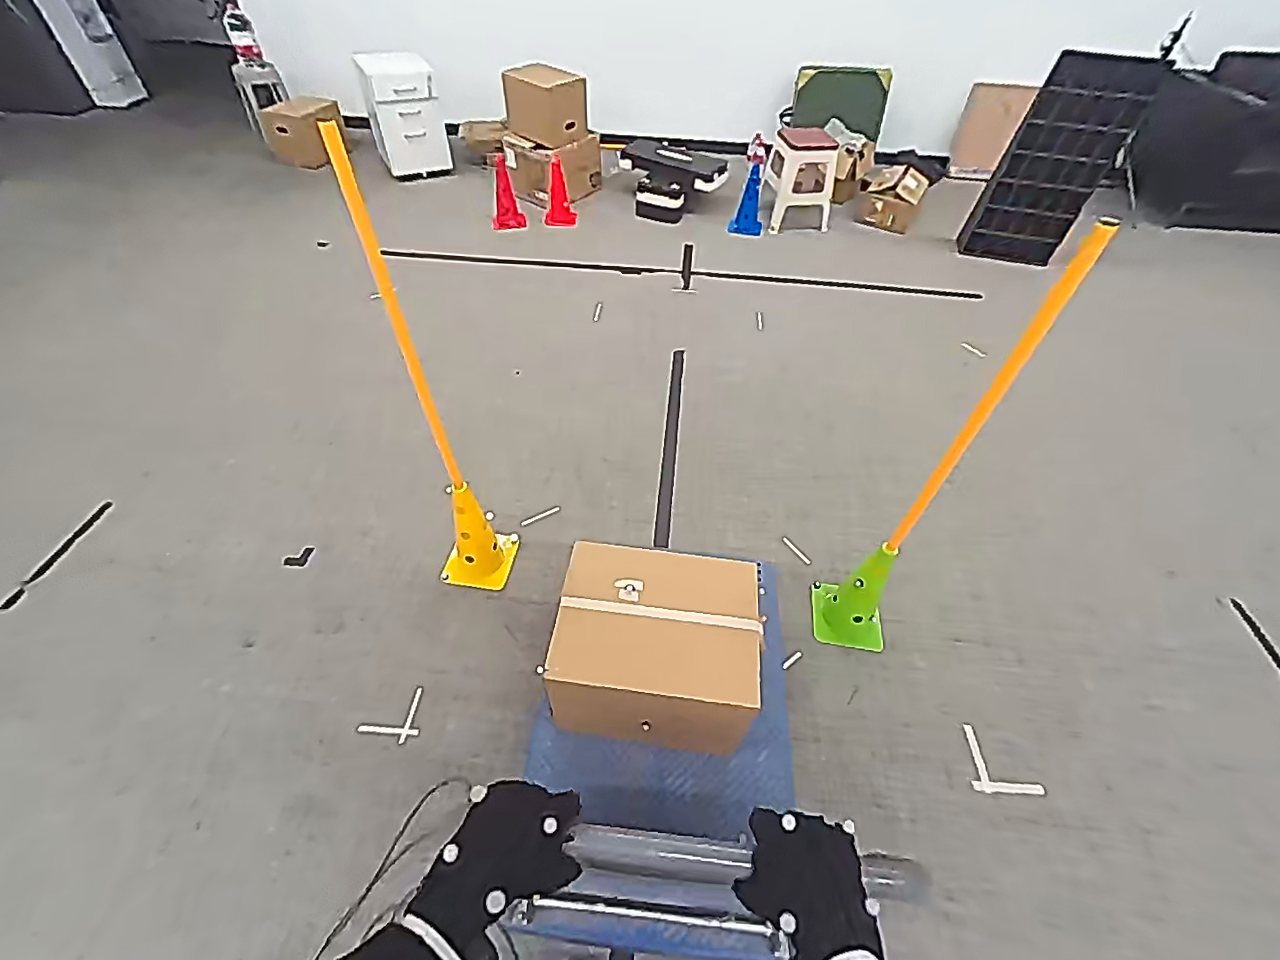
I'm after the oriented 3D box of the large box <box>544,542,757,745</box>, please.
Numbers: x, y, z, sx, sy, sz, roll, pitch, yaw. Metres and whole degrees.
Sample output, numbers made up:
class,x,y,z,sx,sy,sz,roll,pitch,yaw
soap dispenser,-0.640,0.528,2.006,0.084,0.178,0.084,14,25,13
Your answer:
class,x,y,z,sx,sy,sz,roll,pitch,yaw
large box,0.034,0.369,1.205,0.408,0.320,0.320,7,49,4

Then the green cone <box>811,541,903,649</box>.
class,x,y,z,sx,sy,sz,roll,pitch,yaw
green cone,0.630,0.289,1.497,0.202,0.368,0.200,9,49,4
